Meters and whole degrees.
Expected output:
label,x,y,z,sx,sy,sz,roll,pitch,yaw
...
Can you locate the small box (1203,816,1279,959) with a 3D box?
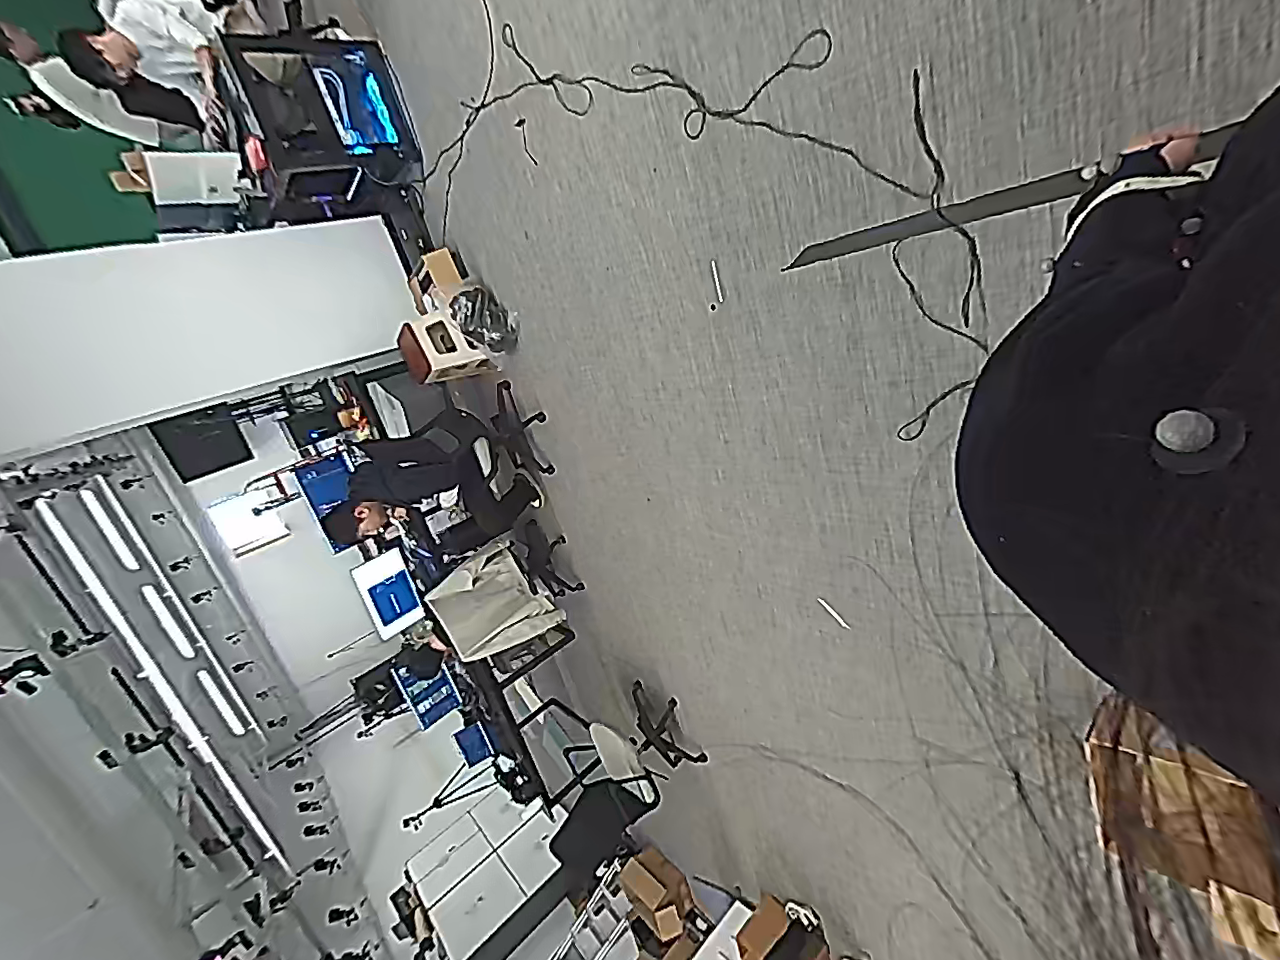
label,x,y,z,sx,sy,sz,roll,pitch,yaw
small box,1.302,0.857,1.122,0.168,0.176,0.179,0,114,52
